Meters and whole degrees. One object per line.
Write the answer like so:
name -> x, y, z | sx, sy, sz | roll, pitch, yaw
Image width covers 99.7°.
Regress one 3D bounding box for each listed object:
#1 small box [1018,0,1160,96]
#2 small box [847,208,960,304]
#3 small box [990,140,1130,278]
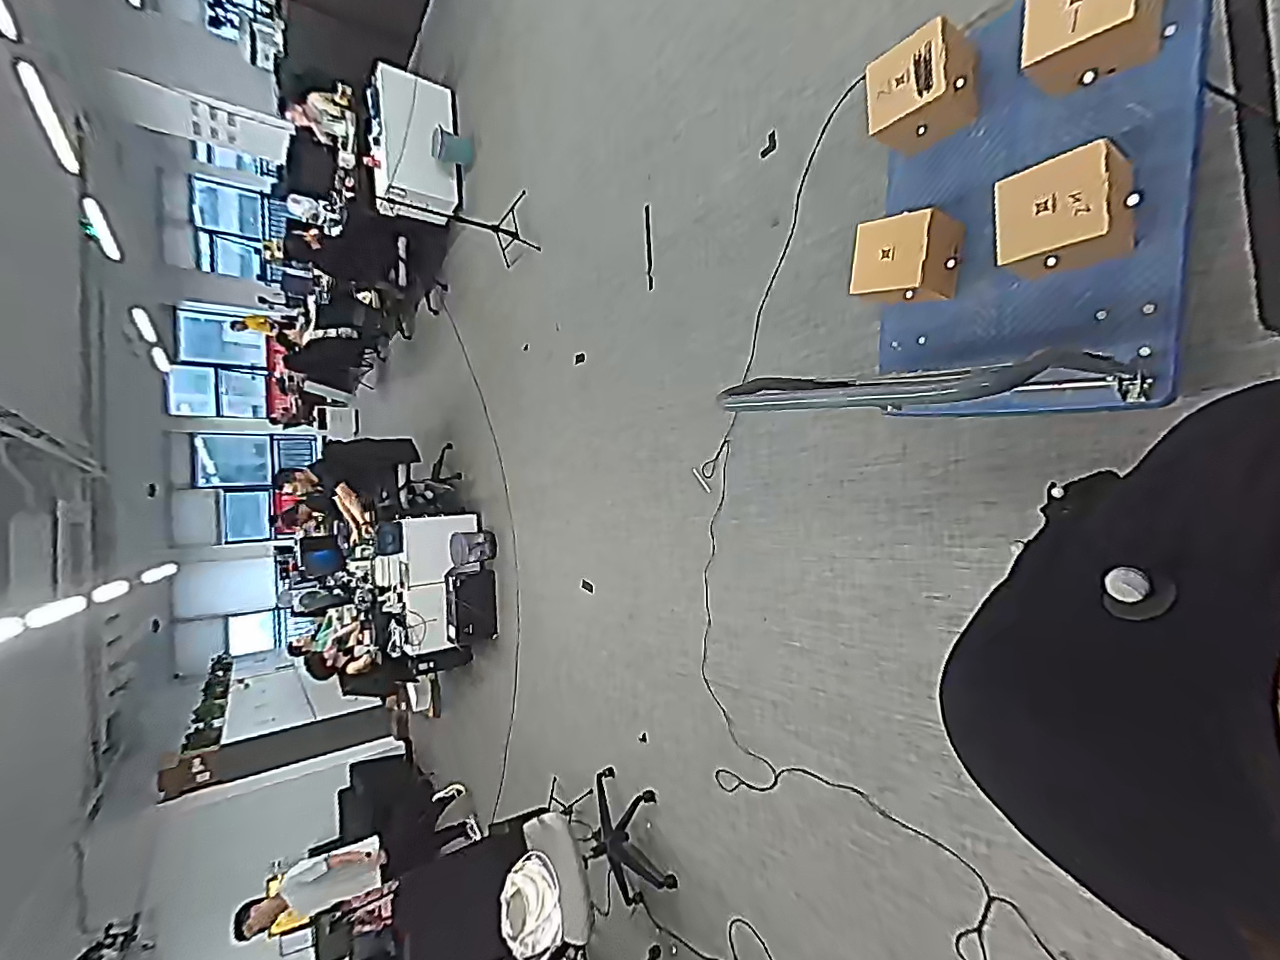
small box -> 0.830, -0.863, 0.999 | 0.168, 0.176, 0.179 | 8, 100, 53
small box -> 0.627, -0.524, 1.293 | 0.179, 0.176, 0.168 | 15, 103, 51
small box -> 0.811, -0.508, 1.046 | 0.179, 0.176, 0.168 | -1, 91, 53
